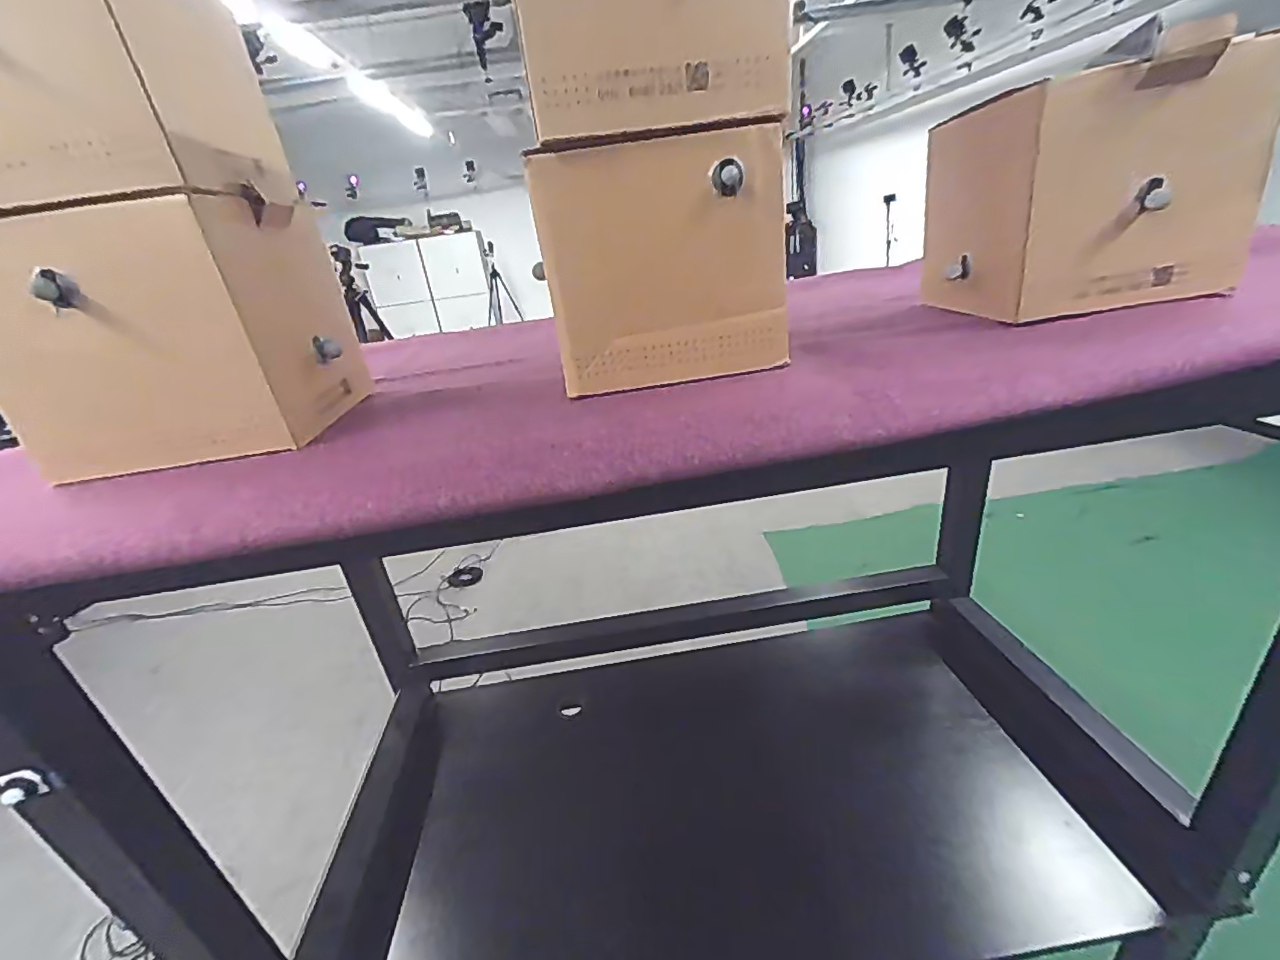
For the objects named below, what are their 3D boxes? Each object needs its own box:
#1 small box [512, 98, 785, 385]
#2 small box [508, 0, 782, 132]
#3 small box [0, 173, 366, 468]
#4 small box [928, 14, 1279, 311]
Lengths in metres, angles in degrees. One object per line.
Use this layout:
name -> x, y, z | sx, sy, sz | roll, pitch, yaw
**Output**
small box -> 0.009, -0.182, 0.443 | 0.179, 0.176, 0.168 | -9, 24, -2
small box -> -0.006, -0.330, 0.378 | 0.168, 0.176, 0.179 | -8, 22, -5
small box -> -0.347, -0.119, 0.412 | 0.179, 0.176, 0.168 | -9, 26, -2
small box -> 0.365, -0.245, 0.456 | 0.168, 0.176, 0.179 | -8, 23, 5
